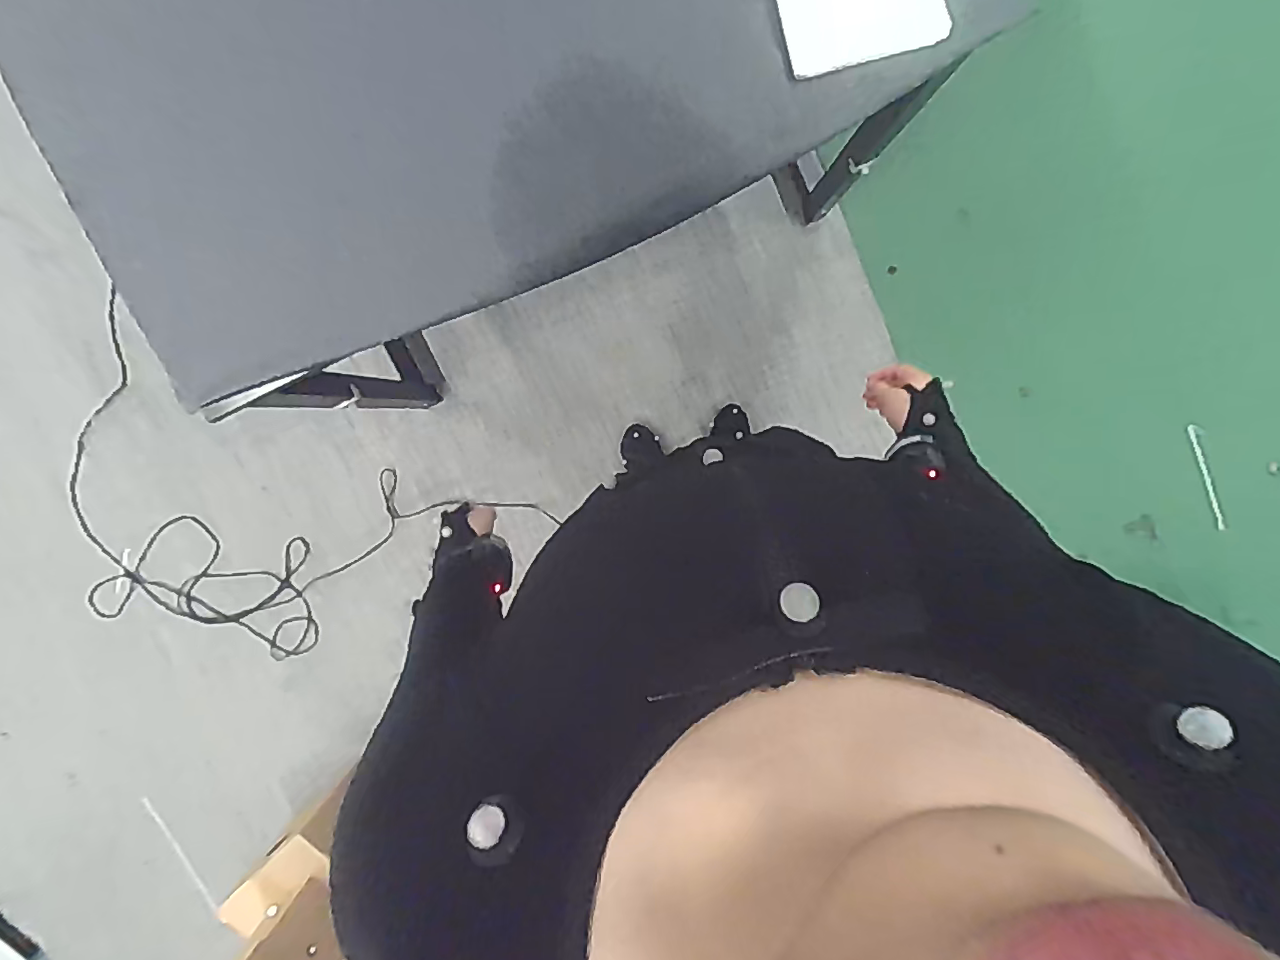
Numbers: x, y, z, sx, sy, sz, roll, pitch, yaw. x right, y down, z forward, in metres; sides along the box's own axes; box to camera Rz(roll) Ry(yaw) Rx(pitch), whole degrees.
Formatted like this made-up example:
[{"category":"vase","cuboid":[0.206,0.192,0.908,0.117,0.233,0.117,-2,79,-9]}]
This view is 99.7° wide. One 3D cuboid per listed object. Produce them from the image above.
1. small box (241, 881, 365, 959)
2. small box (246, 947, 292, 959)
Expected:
[{"category":"small box","cuboid":[-0.778,1.083,1.238,0.168,0.176,0.179,-43,94,4]},{"category":"small box","cuboid":[-0.787,1.091,1.076,0.168,0.176,0.179,-42,95,4]}]
